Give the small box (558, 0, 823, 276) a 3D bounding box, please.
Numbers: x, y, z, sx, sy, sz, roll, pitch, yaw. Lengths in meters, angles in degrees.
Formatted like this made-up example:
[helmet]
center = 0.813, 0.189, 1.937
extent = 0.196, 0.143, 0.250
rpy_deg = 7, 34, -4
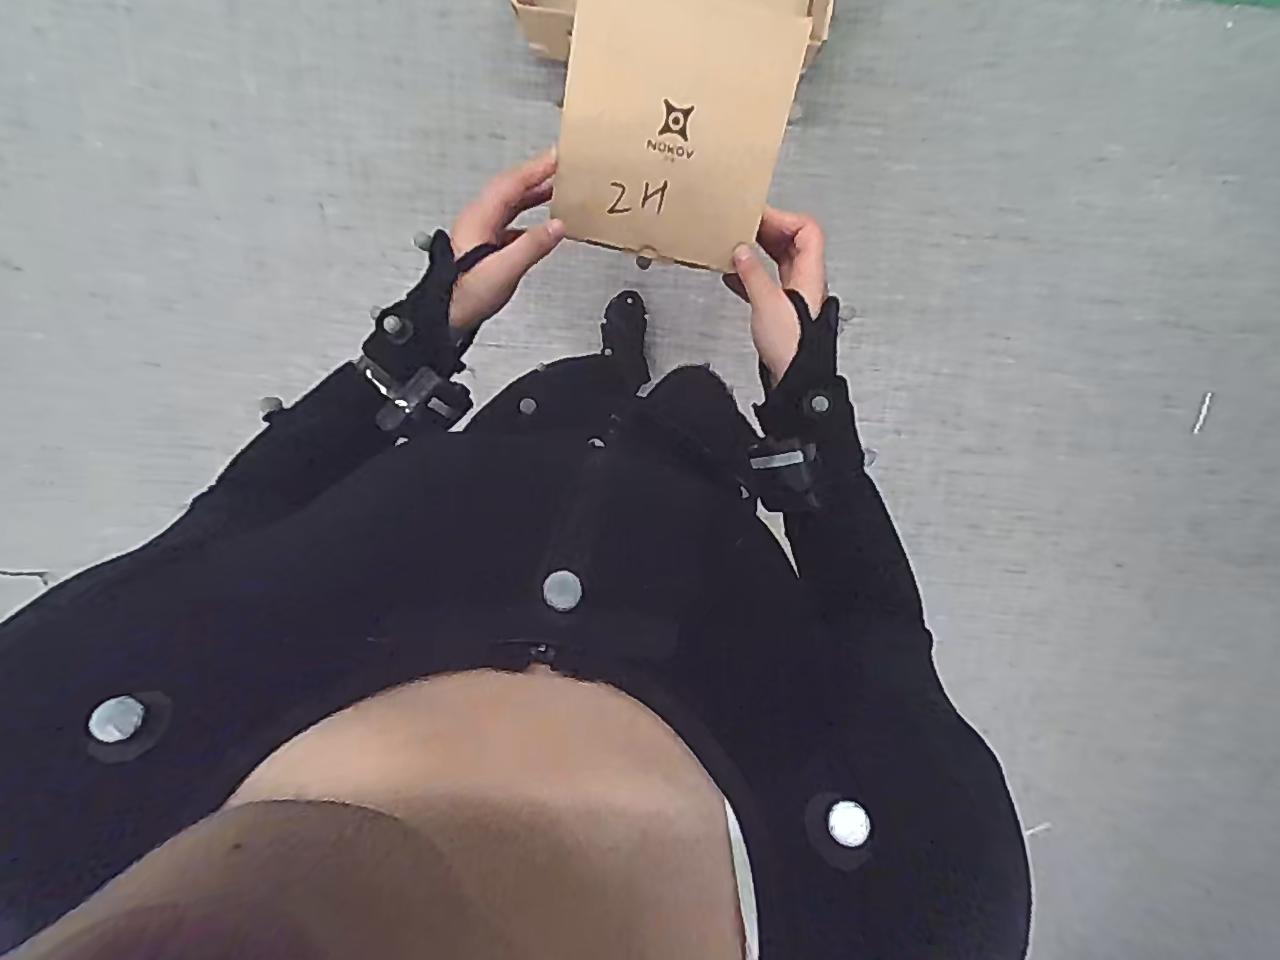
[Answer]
[small box]
center = 0.029, -0.292, 0.471
extent = 0.168, 0.176, 0.179
rpy_deg = 10, 115, -6
